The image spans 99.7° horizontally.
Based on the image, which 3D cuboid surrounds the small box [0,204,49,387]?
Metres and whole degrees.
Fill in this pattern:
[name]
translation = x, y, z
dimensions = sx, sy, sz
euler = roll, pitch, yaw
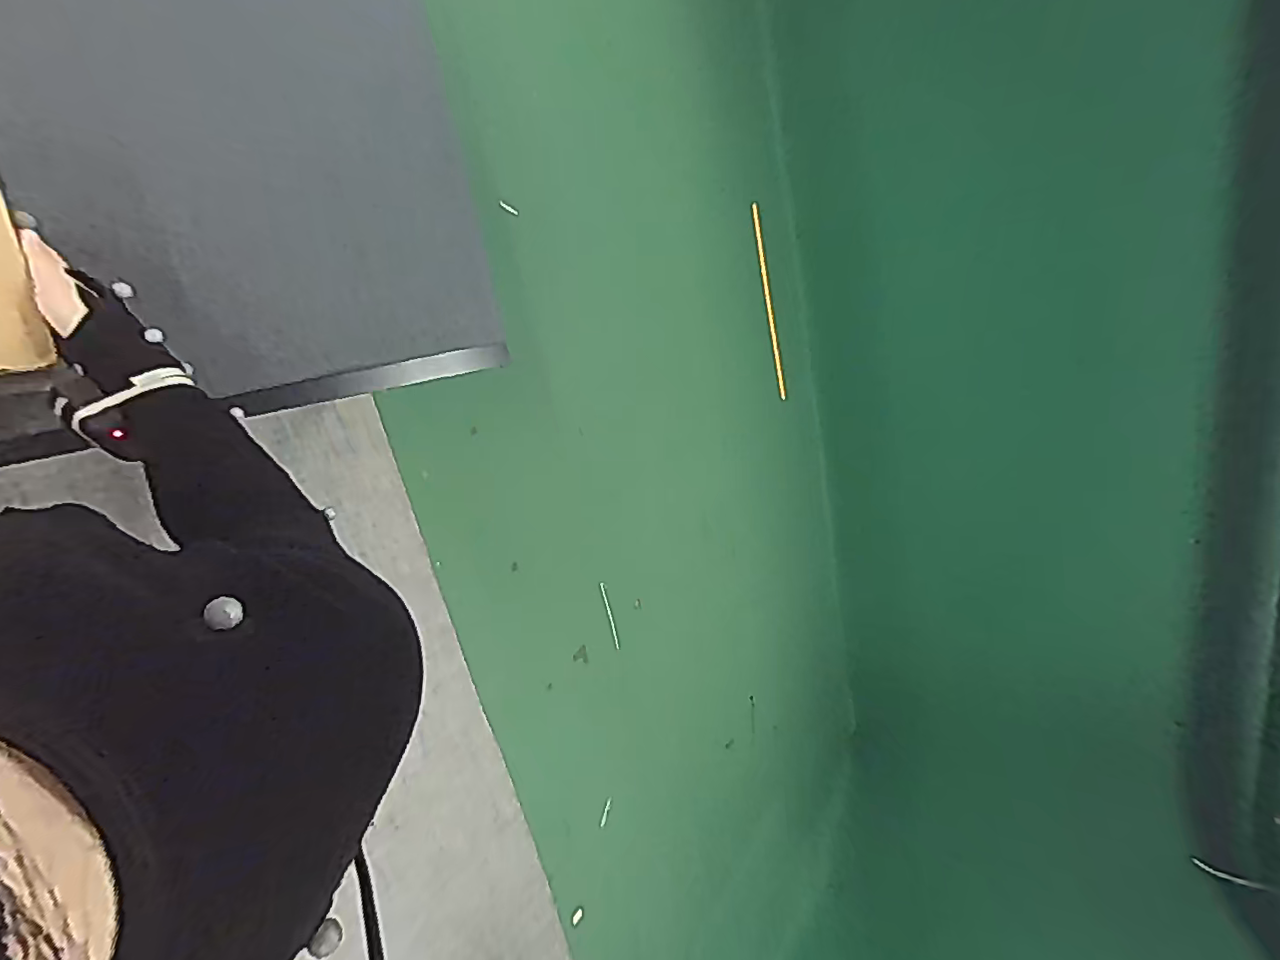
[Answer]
[small box]
translation = -0.595, -0.161, 0.404
dimensions = 0.168, 0.176, 0.179
euler = -22, 107, -49
